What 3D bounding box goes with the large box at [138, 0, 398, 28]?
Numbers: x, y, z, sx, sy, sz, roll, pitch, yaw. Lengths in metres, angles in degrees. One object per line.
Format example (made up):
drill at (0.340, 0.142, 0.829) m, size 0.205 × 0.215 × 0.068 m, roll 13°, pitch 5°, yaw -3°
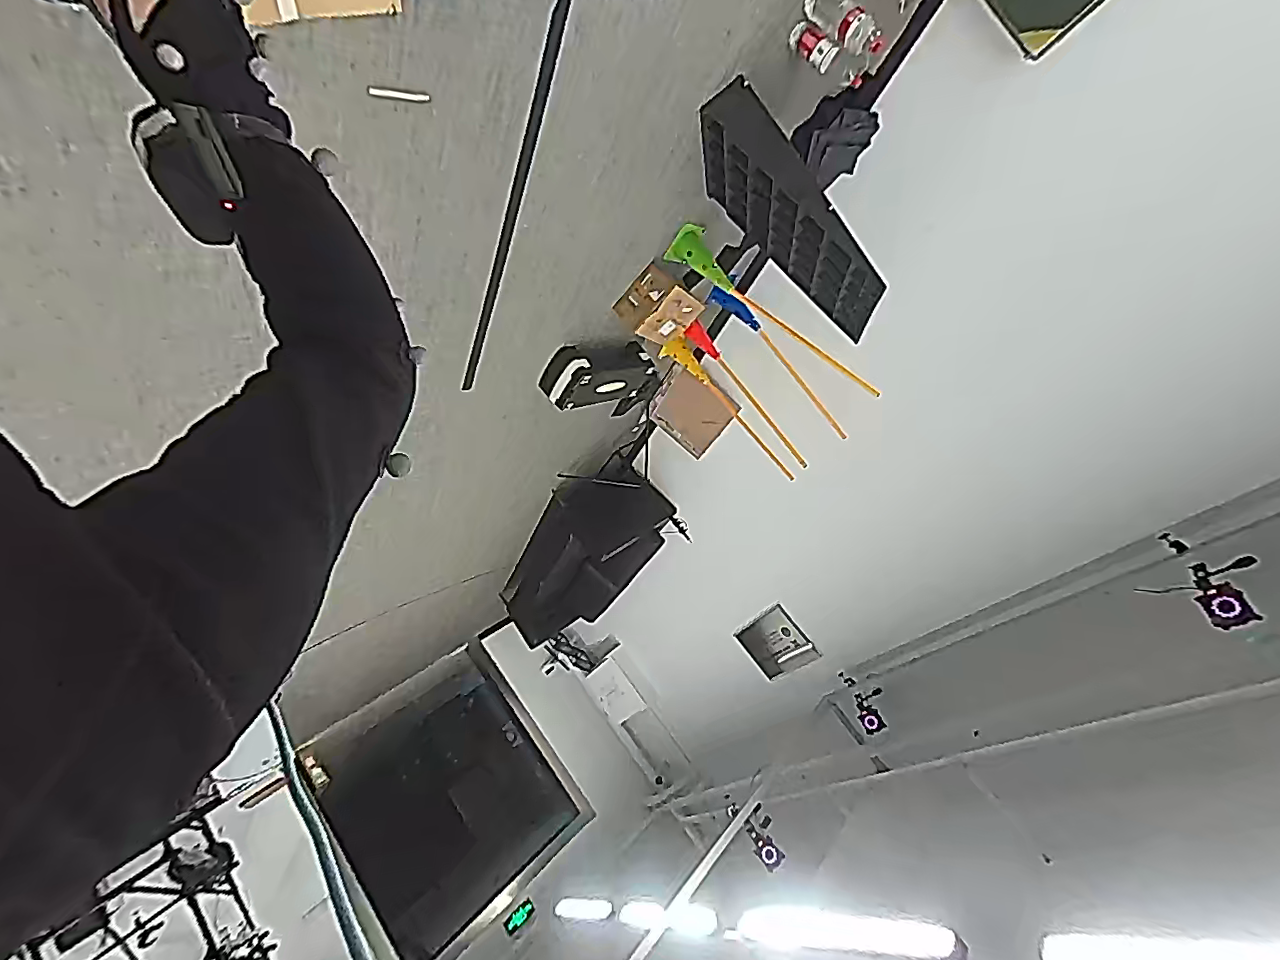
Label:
large box at (-0.505, -0.808, 0.569) m, size 0.320 × 0.320 × 0.408 m, roll -32°, pitch 166°, yaw -28°
